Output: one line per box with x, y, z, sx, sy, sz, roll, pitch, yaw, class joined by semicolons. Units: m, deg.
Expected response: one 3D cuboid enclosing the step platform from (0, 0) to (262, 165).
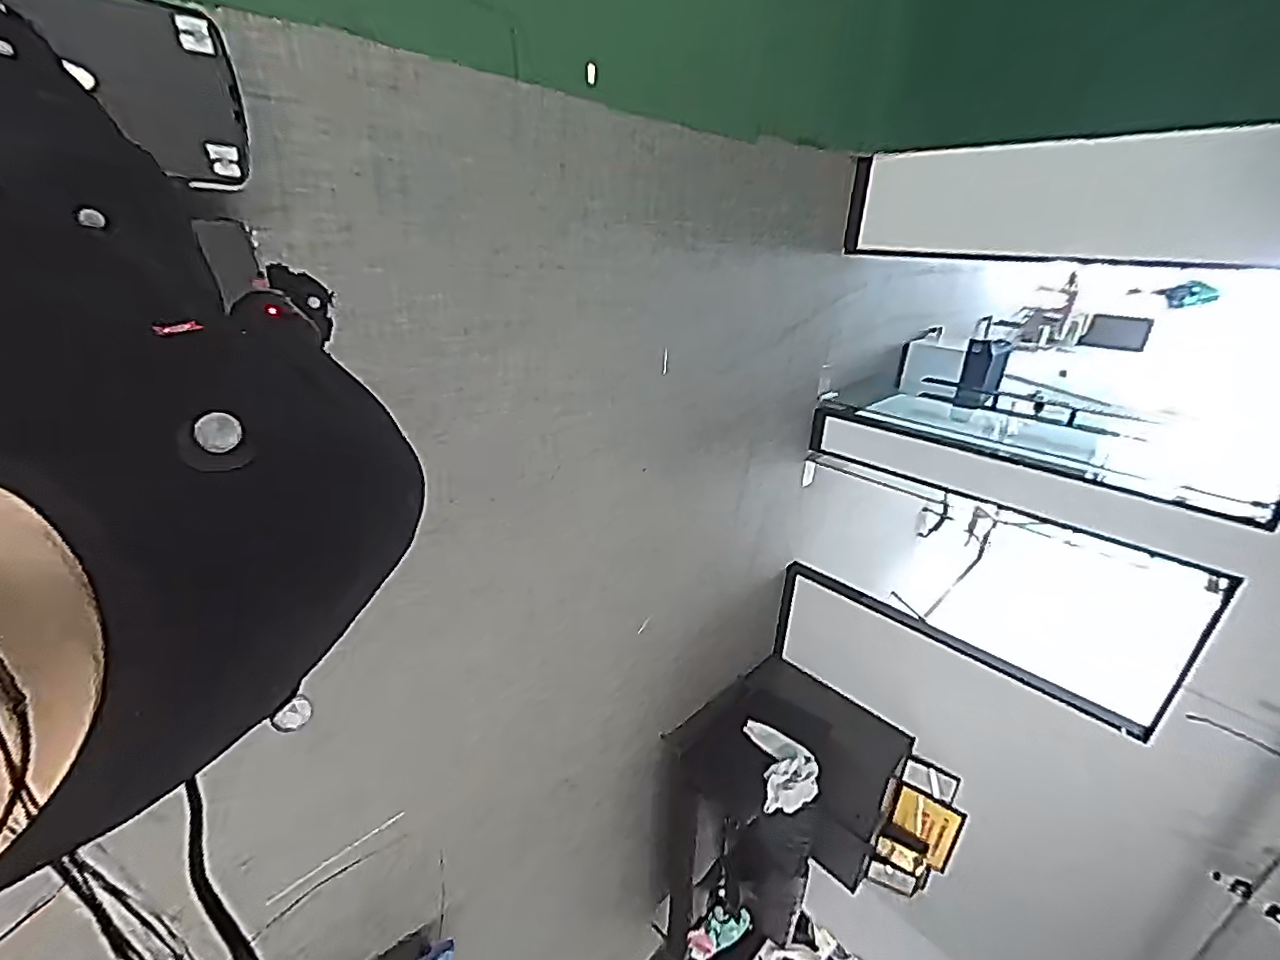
-0.930;-0.613;0.711;0.684;0.204;0.286;-19;124;-40;step platform
